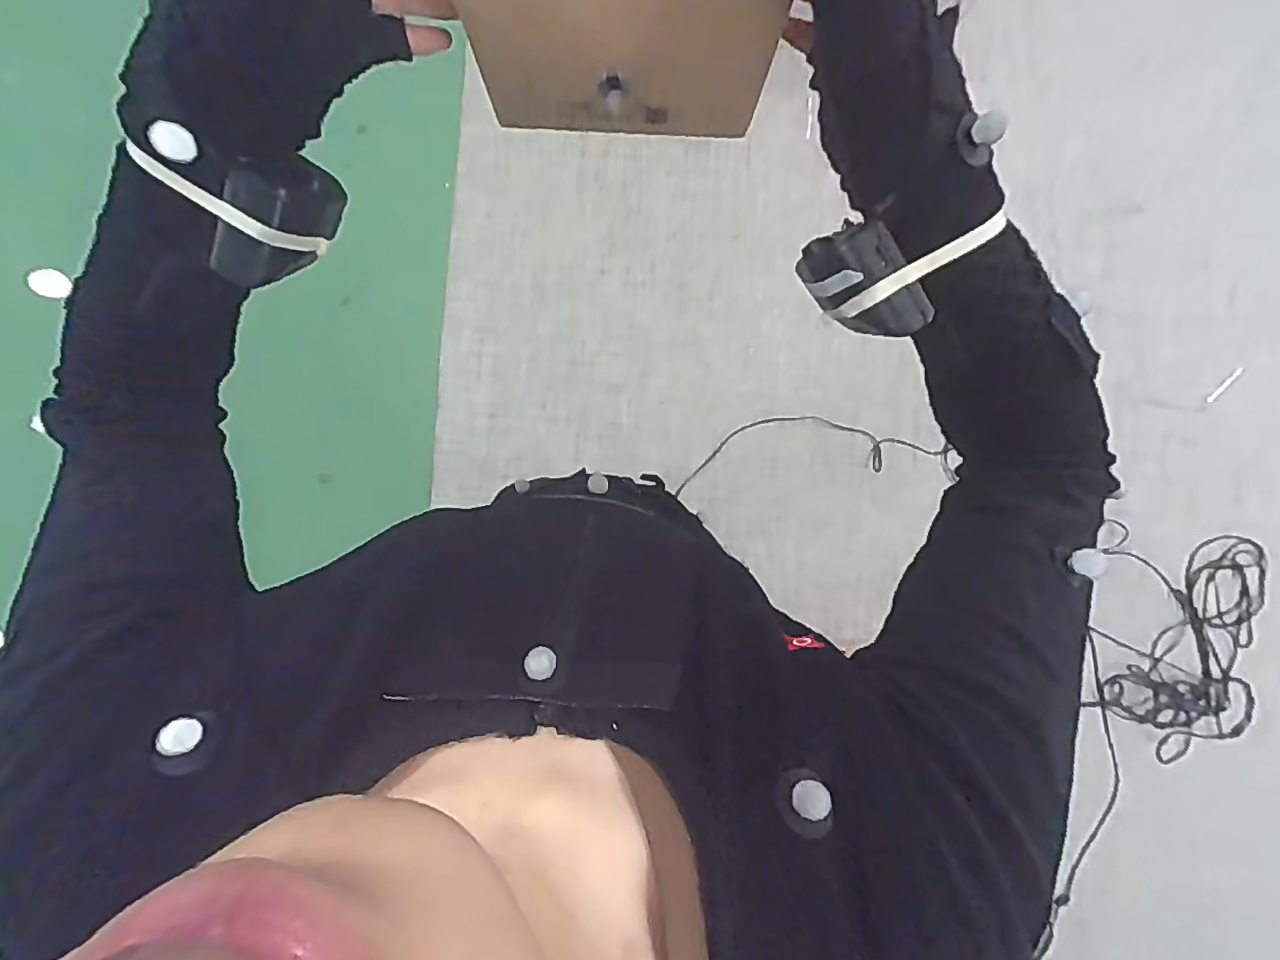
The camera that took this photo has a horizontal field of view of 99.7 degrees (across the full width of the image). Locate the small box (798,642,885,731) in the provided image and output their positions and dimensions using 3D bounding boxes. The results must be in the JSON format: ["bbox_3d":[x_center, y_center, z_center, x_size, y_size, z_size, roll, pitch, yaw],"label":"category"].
[{"bbox_3d":[0.516,0.529,1.399,0.168,0.176,0.179,1,86,-1],"label":"small box"}]
